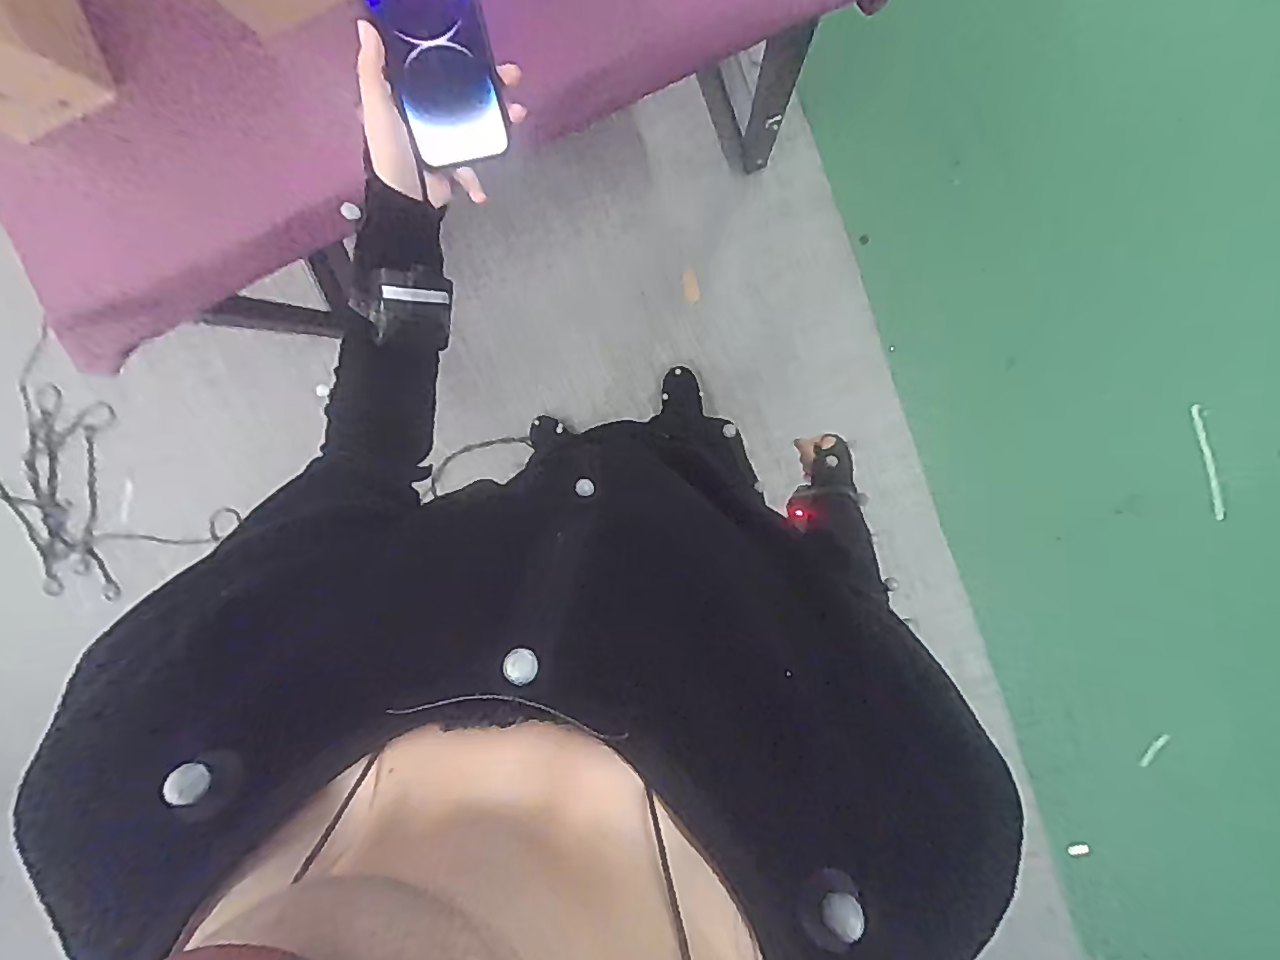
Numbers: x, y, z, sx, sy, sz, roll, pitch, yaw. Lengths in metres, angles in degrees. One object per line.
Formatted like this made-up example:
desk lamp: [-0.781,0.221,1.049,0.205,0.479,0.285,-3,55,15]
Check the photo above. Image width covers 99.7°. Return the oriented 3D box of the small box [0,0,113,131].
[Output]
small box: [-0.802,-0.554,0.643,0.168,0.176,0.179,-18,98,8]

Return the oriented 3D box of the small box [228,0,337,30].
small box: [-0.428,-0.656,0.590,0.179,0.176,0.168,-18,98,8]
